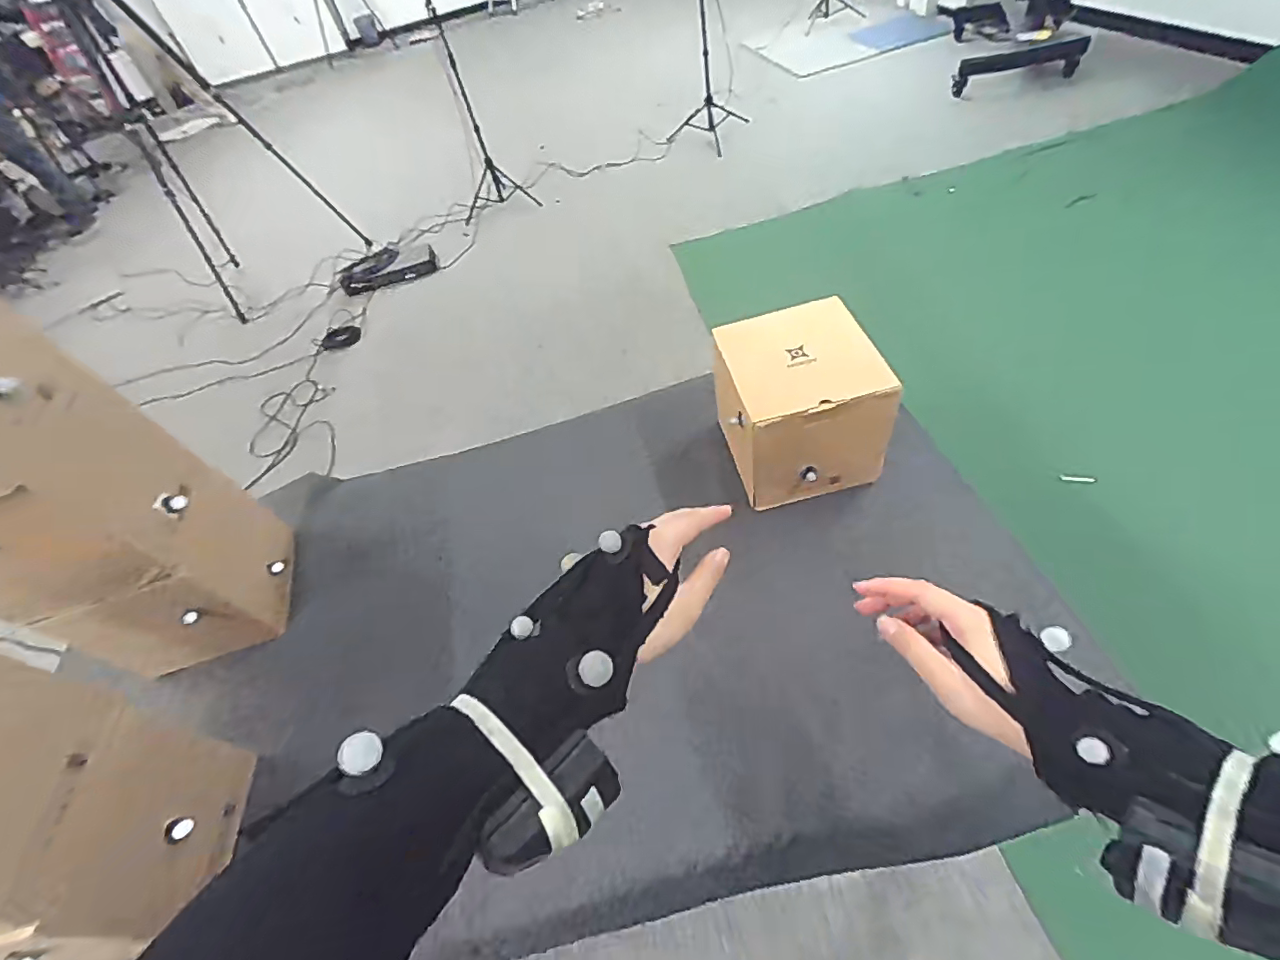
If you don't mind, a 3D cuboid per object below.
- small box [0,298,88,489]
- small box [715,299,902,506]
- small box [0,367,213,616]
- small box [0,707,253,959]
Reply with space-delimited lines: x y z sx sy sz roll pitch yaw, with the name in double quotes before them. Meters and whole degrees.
"small box" -0.626 -0.075 0.429 0.179 0.176 0.168 -17 53 -3
"small box" 0.198 -0.096 0.689 0.168 0.176 0.179 -14 52 1
"small box" -0.606 0.018 0.563 0.179 0.176 0.168 -18 53 -4
"small box" -0.509 0.335 0.496 0.179 0.176 0.168 -15 48 0
